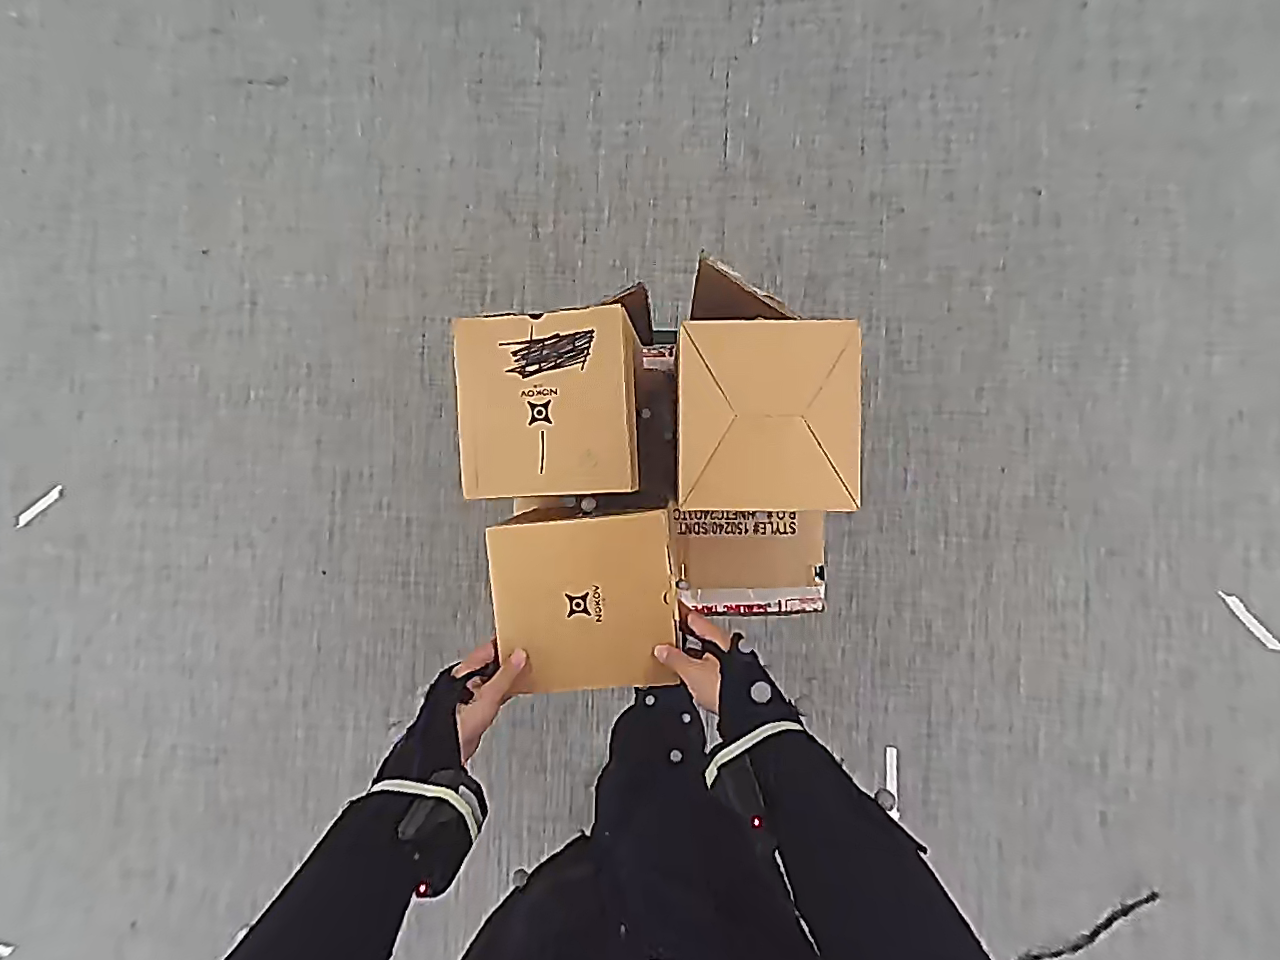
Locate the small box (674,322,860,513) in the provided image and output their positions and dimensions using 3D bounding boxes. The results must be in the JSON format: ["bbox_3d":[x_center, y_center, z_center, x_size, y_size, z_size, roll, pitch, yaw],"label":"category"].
[{"bbox_3d":[0.121,-0.056,0.575,0.168,0.176,0.179,0,91,1],"label":"small box"}]

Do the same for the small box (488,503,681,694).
[{"bbox_3d":[-0.048,0.117,0.593,0.179,0.176,0.168,-6,92,3],"label":"small box"}]
